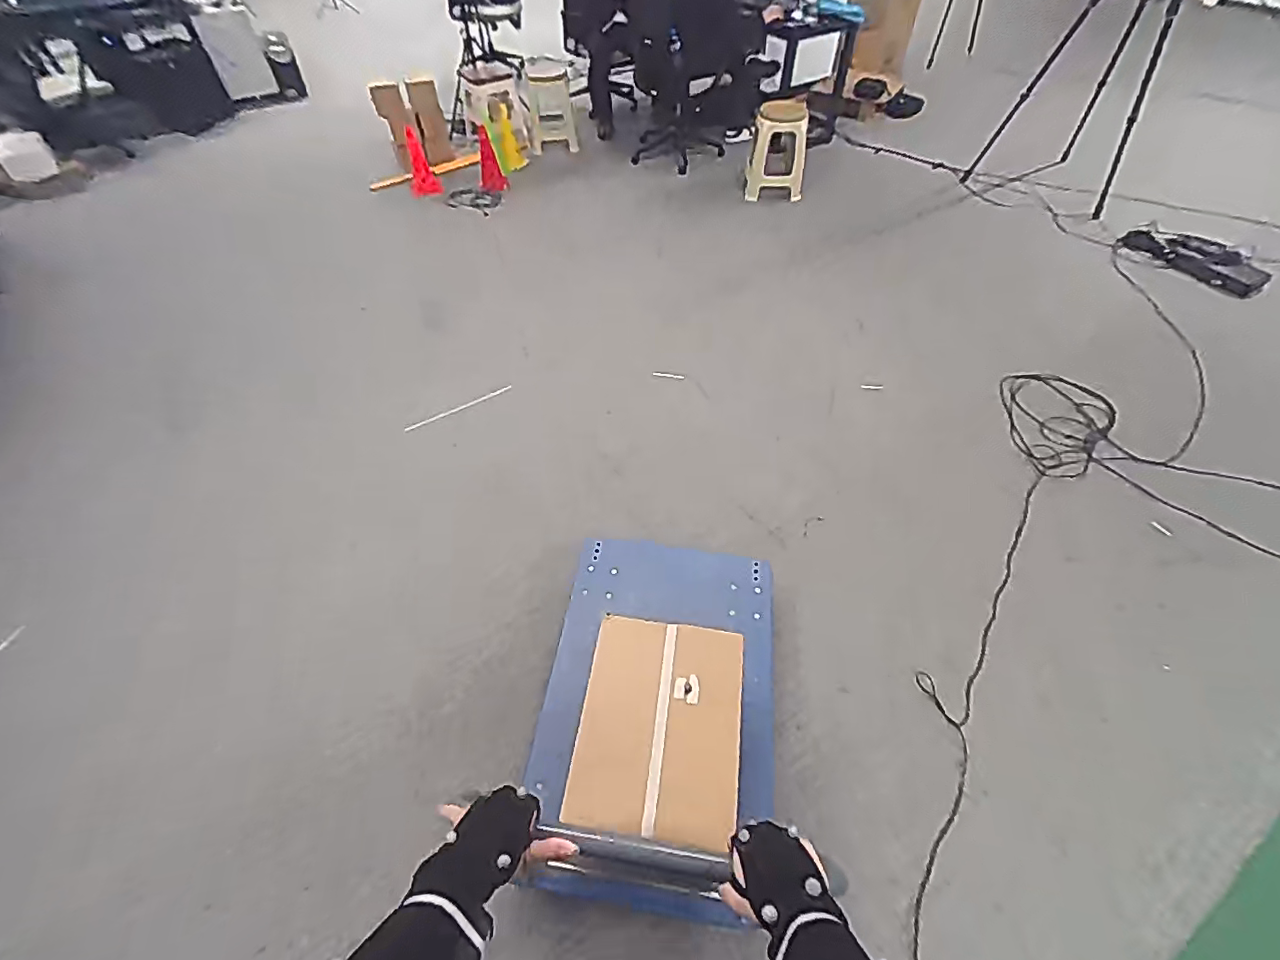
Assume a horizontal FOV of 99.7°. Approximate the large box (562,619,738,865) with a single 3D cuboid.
[{"bbox_3d":[0.039,0.577,1.195,0.320,0.320,0.408,7,51,6],"label":"large box"}]
